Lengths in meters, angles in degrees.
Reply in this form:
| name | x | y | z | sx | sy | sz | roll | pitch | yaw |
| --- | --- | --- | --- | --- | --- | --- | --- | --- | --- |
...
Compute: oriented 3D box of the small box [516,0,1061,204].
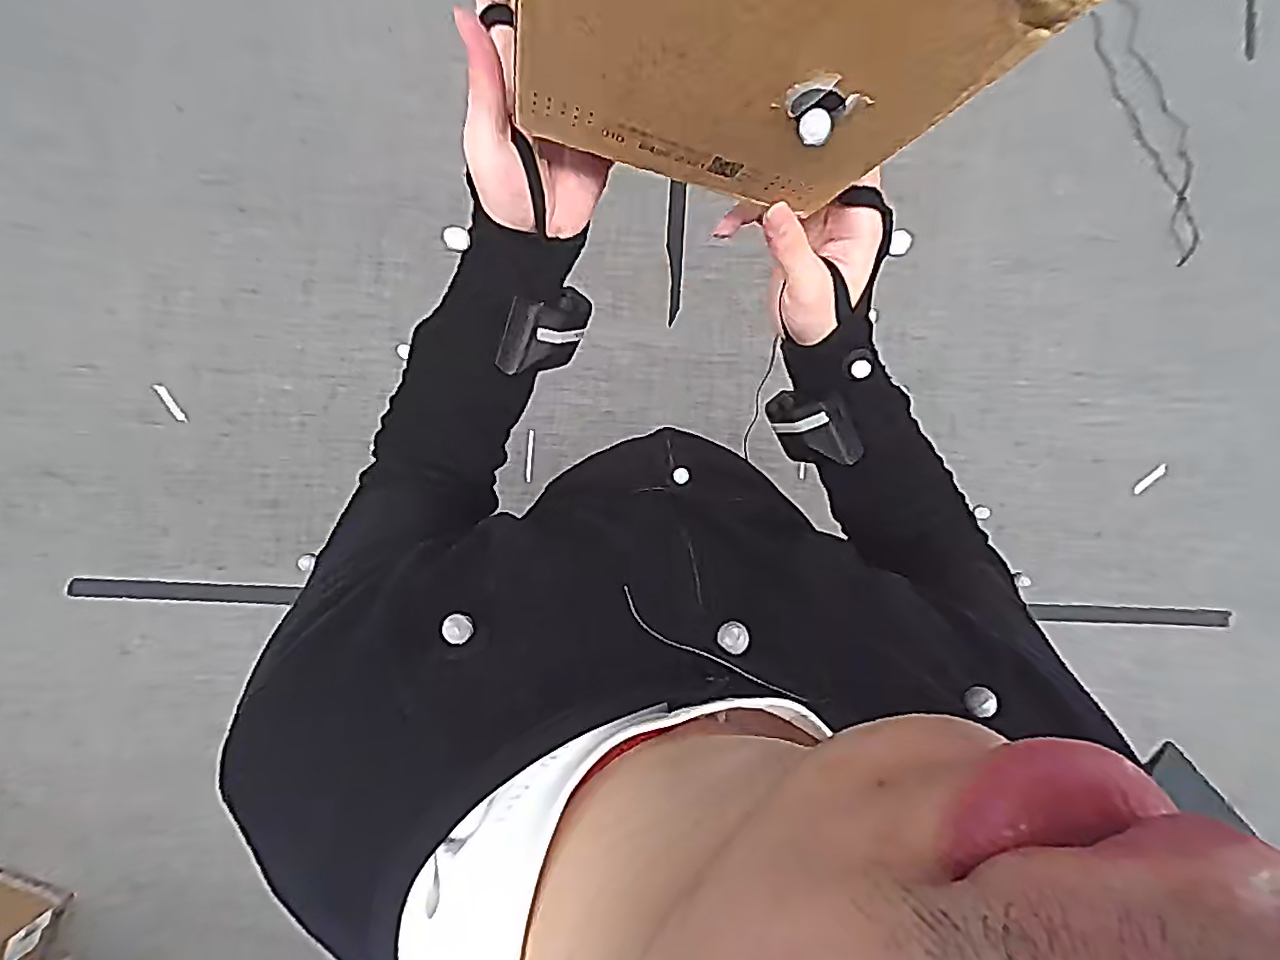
| name | x | y | z | sx | sy | sz | roll | pitch | yaw |
| --- | --- | --- | --- | --- | --- | --- | --- | --- | --- |
| small box | 0.045 | -0.243 | 0.215 | 0.168 | 0.176 | 0.179 | 8 | 92 | -16 |
